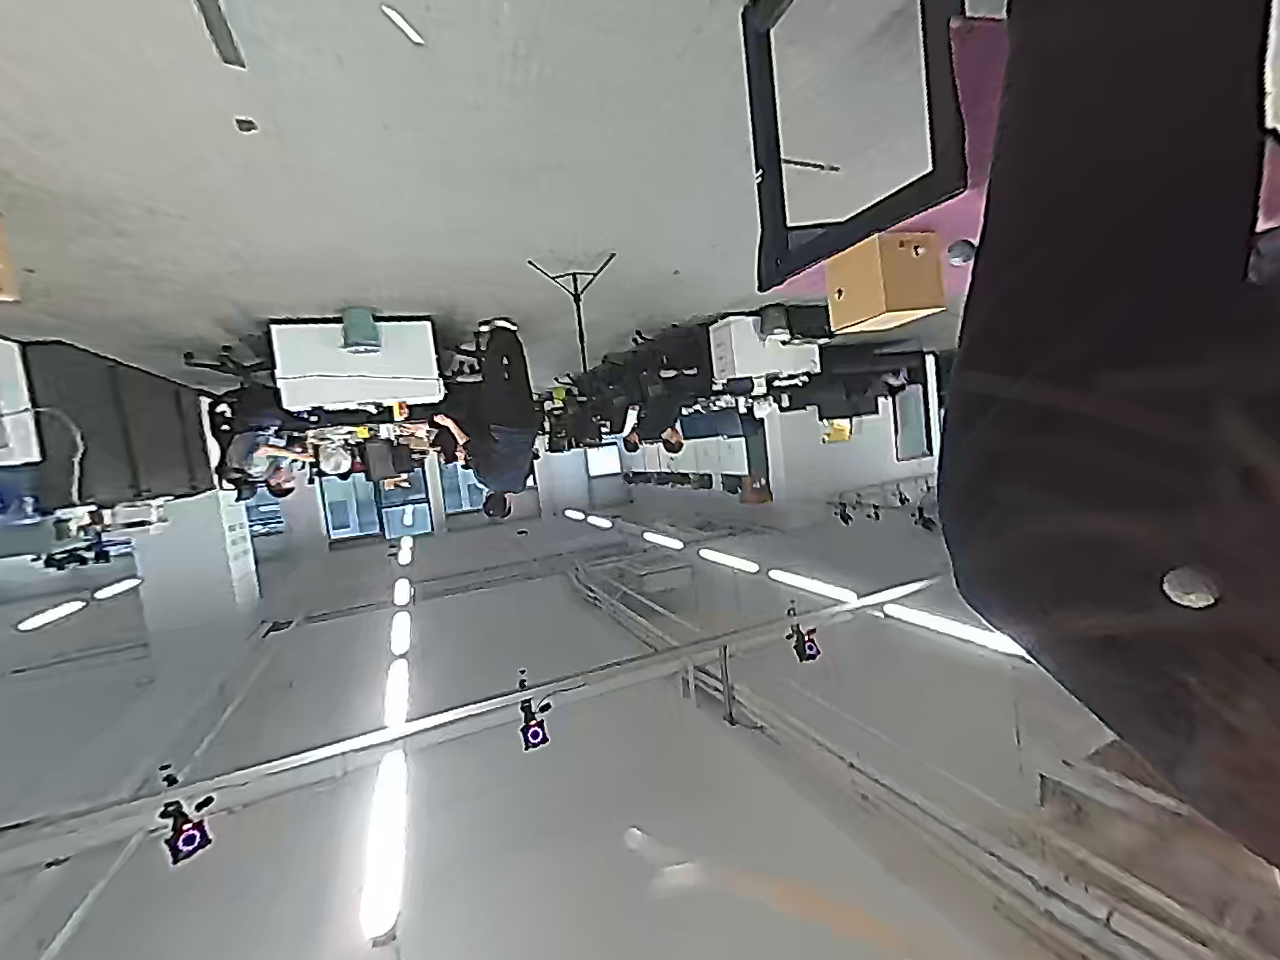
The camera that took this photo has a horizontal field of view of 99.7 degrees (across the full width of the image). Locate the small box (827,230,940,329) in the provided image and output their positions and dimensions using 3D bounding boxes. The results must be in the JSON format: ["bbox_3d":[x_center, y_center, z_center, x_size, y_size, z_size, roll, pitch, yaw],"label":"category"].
[{"bbox_3d":[0.539,-0.445,1.213,0.168,0.176,0.179,-10,-174,-18],"label":"small box"}]
